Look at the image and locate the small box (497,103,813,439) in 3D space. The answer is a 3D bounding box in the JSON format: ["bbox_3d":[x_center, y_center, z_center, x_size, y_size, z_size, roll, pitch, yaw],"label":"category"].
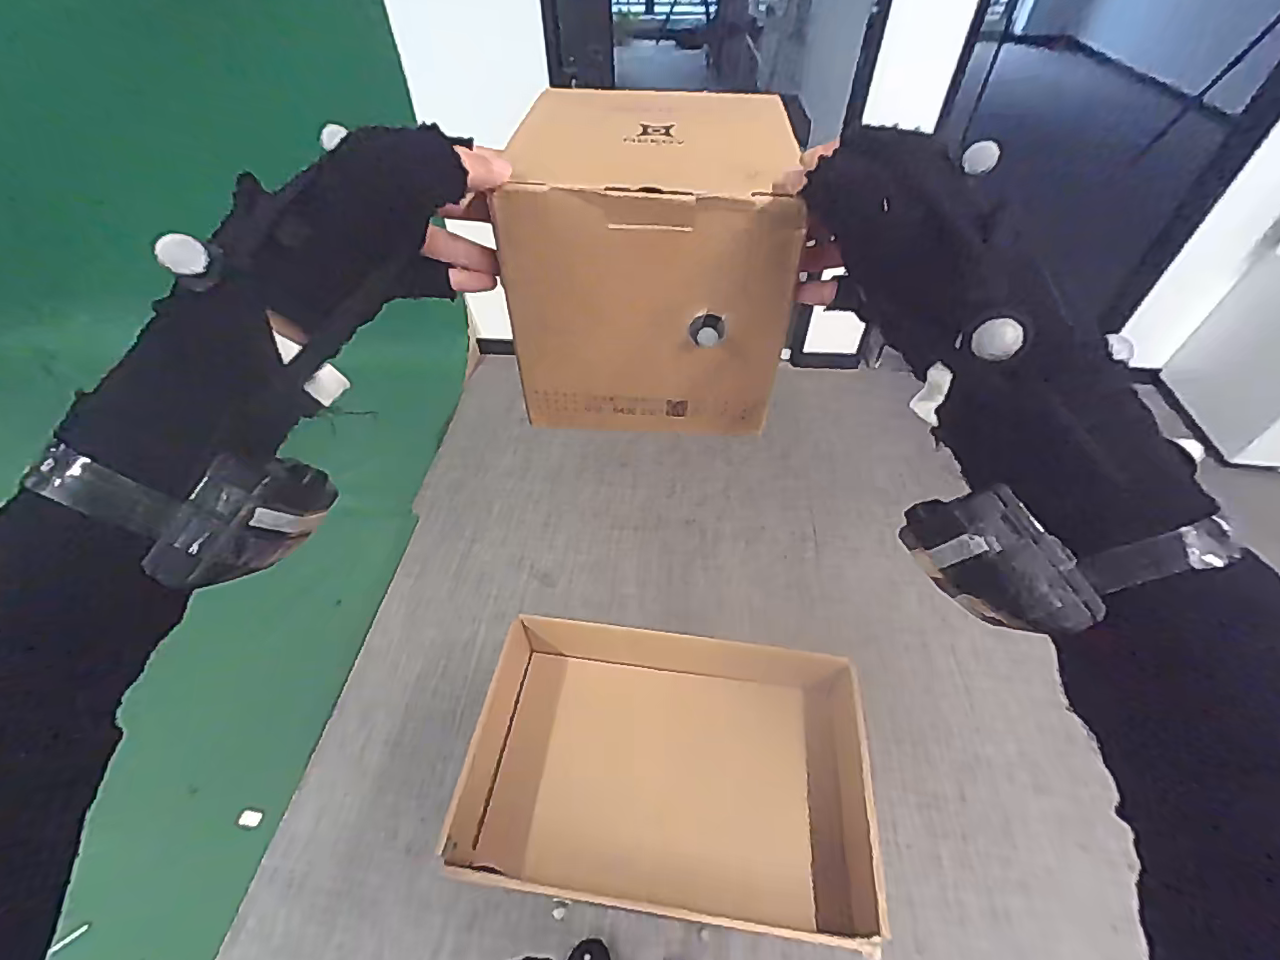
[{"bbox_3d":[0.011,-0.146,0.386,0.168,0.176,0.179,4,47,1],"label":"small box"}]
